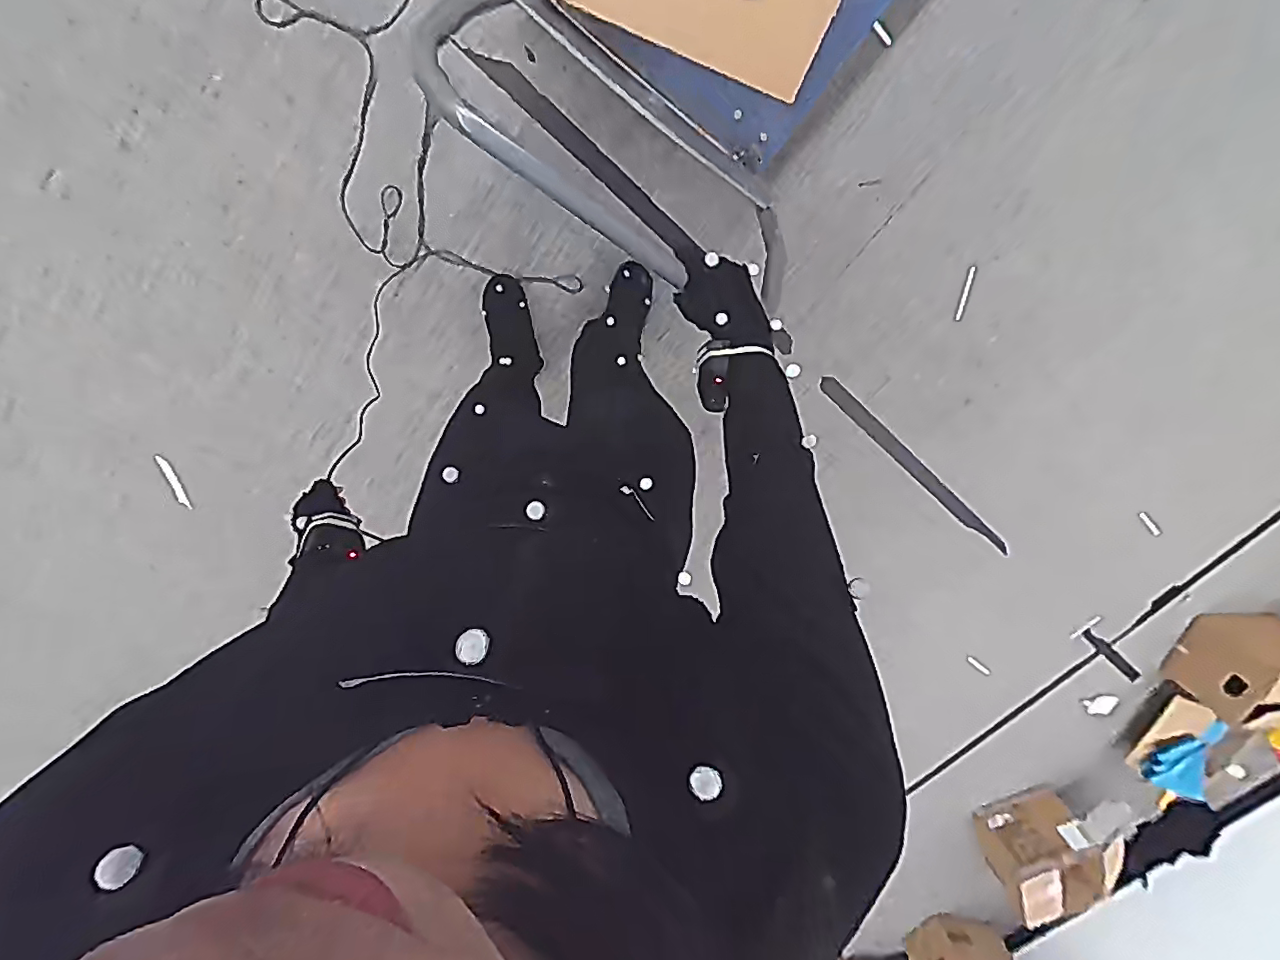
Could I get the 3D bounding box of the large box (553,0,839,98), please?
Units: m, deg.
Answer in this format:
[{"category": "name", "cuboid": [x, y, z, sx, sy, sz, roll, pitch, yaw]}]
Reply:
[{"category": "large box", "cuboid": [0.103, -0.845, 0.817, 0.408, 0.320, 0.320, 15, 132, -11]}]
